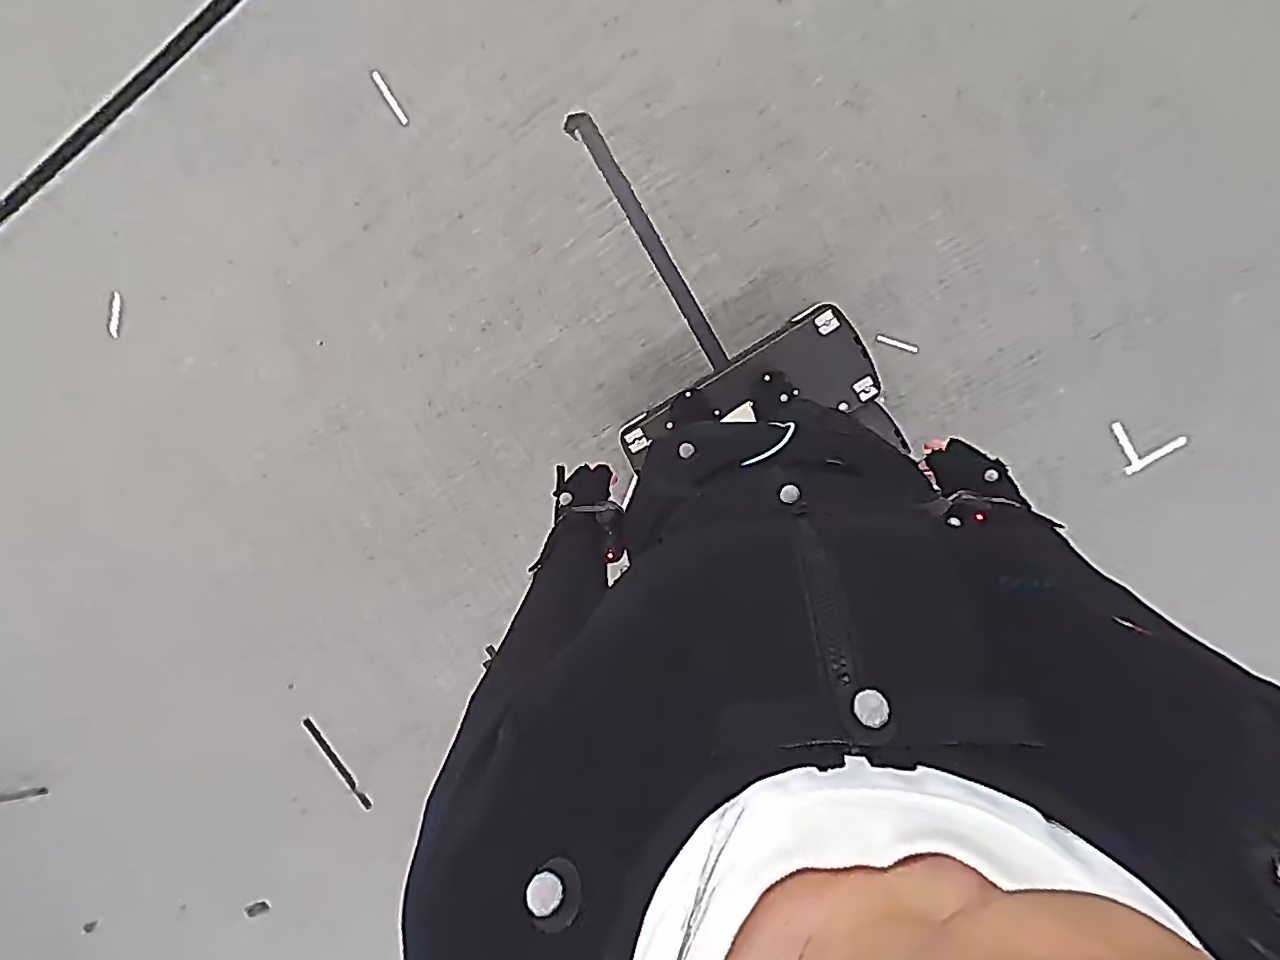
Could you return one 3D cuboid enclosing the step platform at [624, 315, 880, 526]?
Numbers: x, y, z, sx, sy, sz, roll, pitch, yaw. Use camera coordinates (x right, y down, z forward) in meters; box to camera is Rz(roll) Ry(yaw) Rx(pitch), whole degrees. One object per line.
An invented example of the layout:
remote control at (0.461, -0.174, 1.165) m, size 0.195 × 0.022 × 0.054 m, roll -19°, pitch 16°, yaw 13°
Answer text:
step platform at (0.293, -0.158, 1.497) m, size 0.684 × 0.204 × 0.286 m, roll -33°, pitch 98°, yaw 9°
